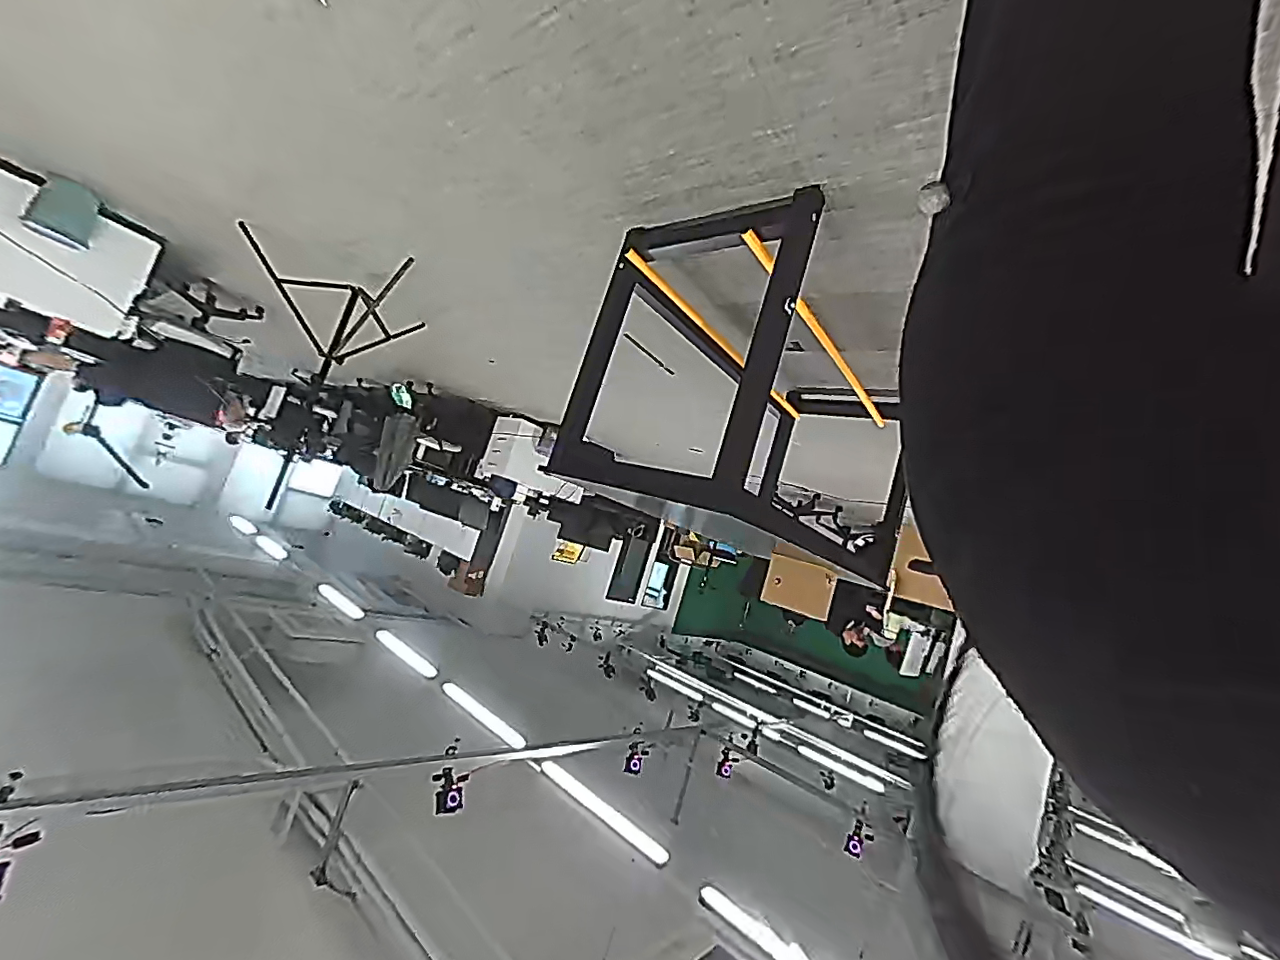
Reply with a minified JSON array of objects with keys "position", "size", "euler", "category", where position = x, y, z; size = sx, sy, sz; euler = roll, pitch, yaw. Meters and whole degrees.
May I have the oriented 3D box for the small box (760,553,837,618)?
[{"position":[0.531,0.347,1.801],"size":[0.179,0.176,0.168],"euler":[11,172,41],"category":"small box"}]
